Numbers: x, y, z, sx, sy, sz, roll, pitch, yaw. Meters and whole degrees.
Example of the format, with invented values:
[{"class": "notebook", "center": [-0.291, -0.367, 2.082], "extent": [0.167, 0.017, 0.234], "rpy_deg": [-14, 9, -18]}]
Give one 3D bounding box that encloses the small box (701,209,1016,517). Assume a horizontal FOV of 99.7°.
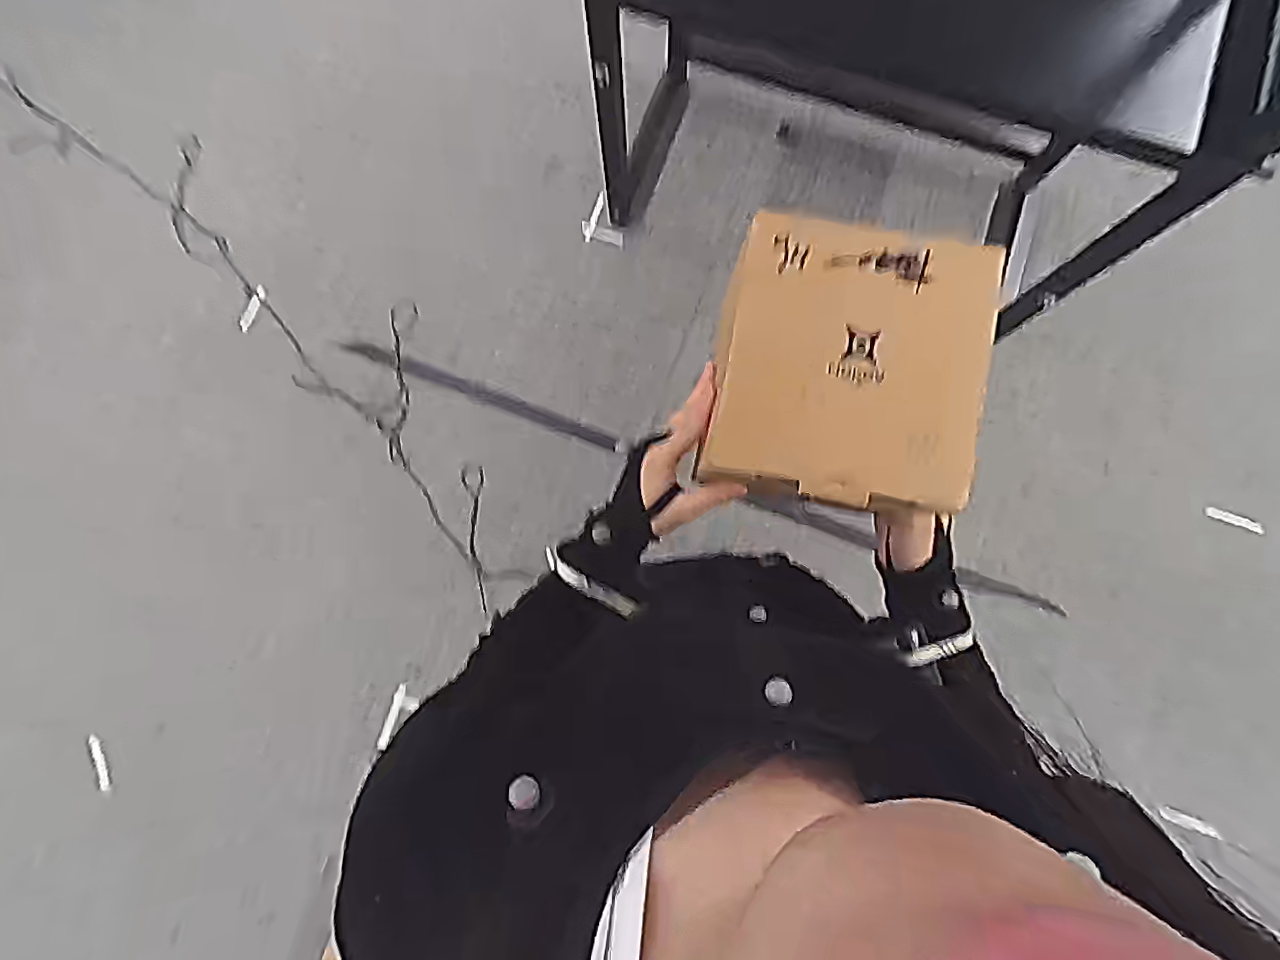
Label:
[{"class": "small box", "center": [0.145, -0.073, 0.423], "extent": [0.168, 0.176, 0.179], "rpy_deg": [11, 87, 1]}]
